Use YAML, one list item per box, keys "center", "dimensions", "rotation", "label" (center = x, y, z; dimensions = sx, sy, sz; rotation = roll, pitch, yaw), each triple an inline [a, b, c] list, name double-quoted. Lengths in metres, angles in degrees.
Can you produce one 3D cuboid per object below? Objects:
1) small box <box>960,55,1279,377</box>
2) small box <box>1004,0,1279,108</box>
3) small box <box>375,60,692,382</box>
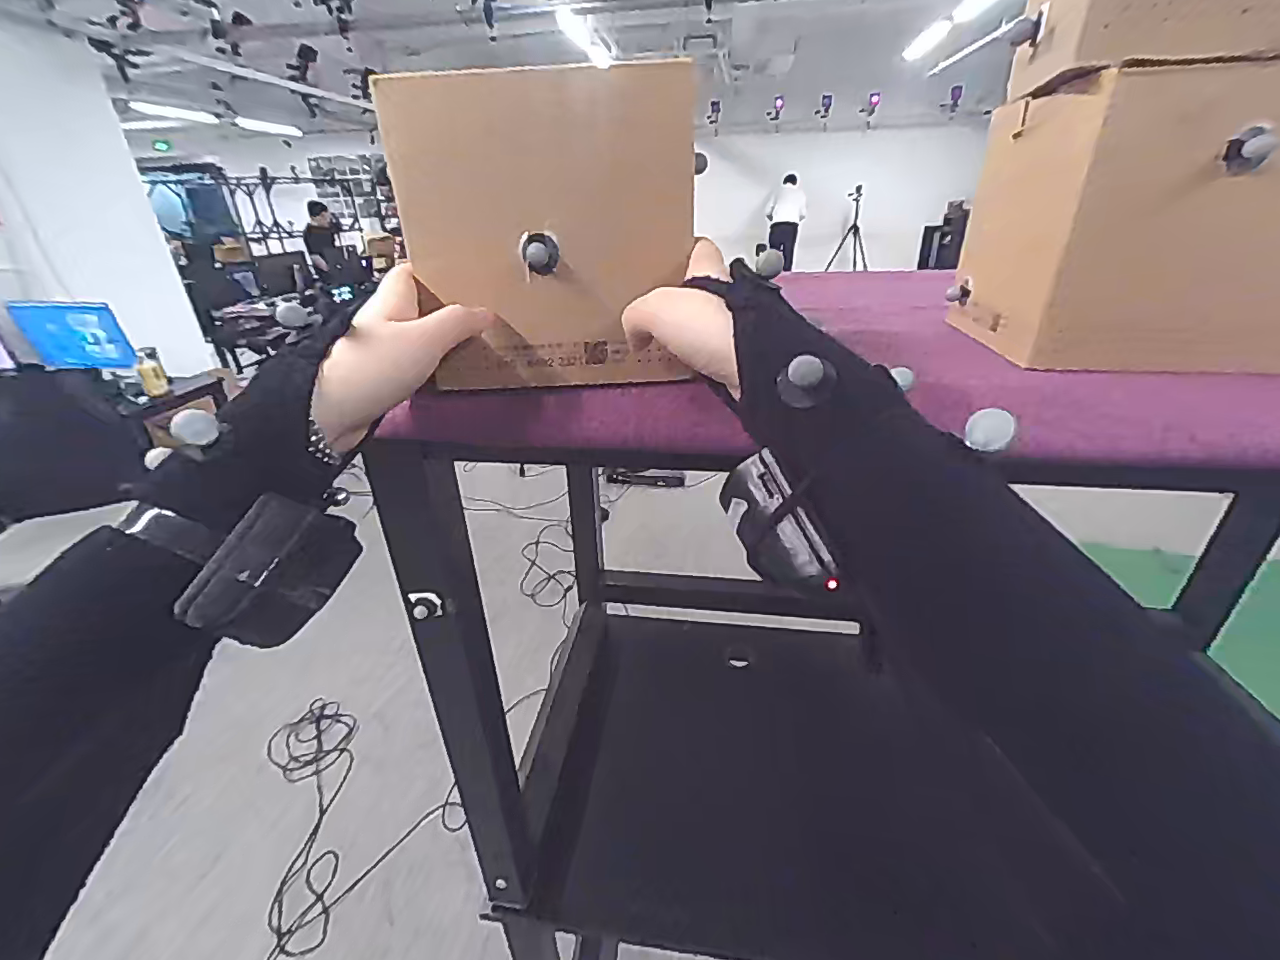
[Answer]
- center: [0.351, -0.176, 0.380]
  dimensions: [0.179, 0.176, 0.168]
  rotation: [4, 28, 9]
  label: "small box"
- center: [0.343, -0.320, 0.305]
  dimensions: [0.179, 0.176, 0.168]
  rotation: [7, 28, 18]
  label: "small box"
- center: [-0.050, -0.171, 0.382]
  dimensions: [0.168, 0.176, 0.179]
  rotation: [-1, 27, 1]
  label: "small box"
